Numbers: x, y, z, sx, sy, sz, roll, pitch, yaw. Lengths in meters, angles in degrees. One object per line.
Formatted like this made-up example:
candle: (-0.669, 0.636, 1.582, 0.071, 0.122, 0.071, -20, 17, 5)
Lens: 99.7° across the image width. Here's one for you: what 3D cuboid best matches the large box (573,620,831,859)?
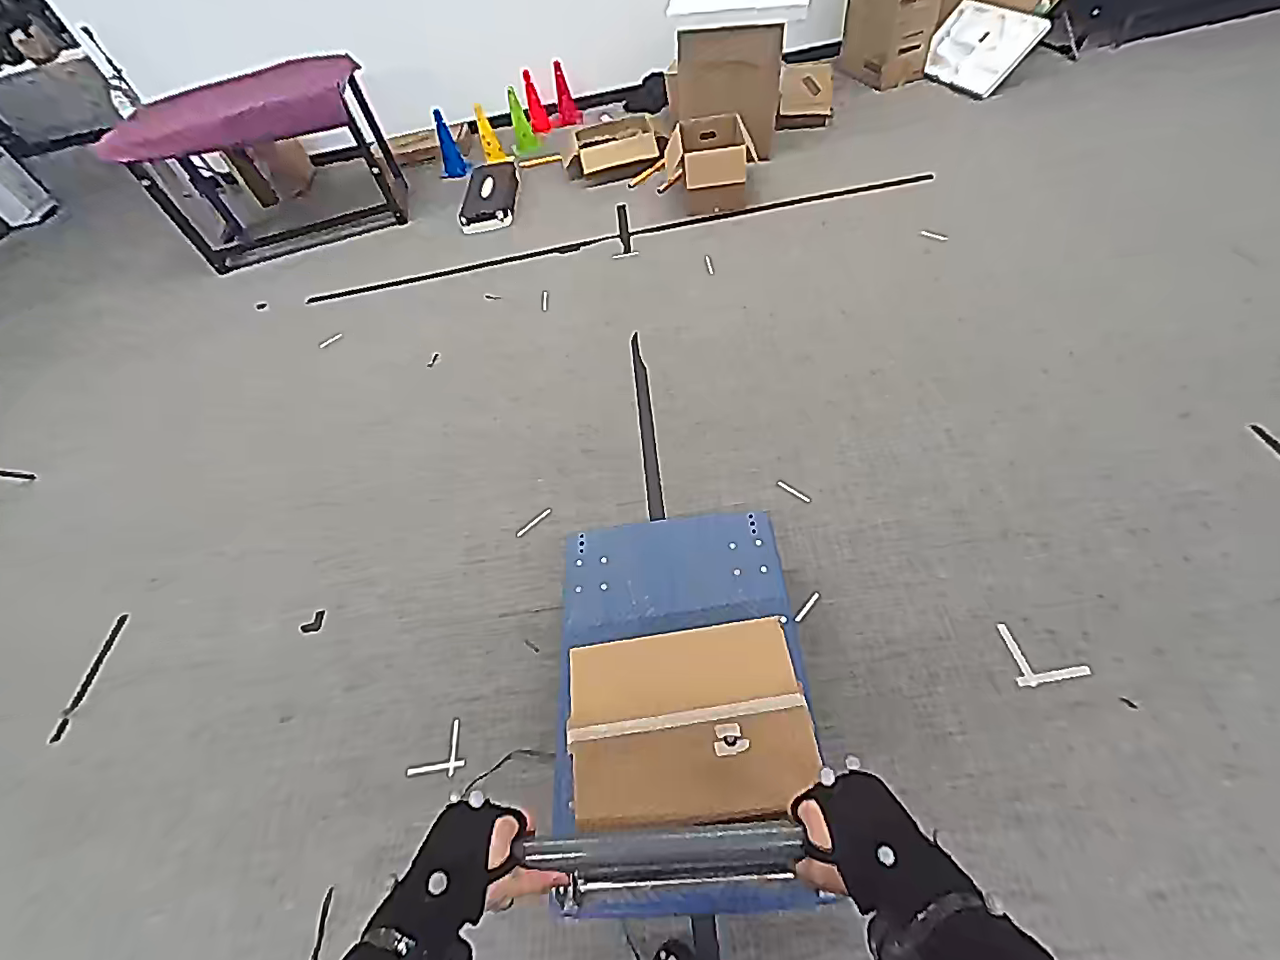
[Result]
large box: (0.102, 0.510, 1.050, 0.408, 0.320, 0.320, -9, 52, 1)
